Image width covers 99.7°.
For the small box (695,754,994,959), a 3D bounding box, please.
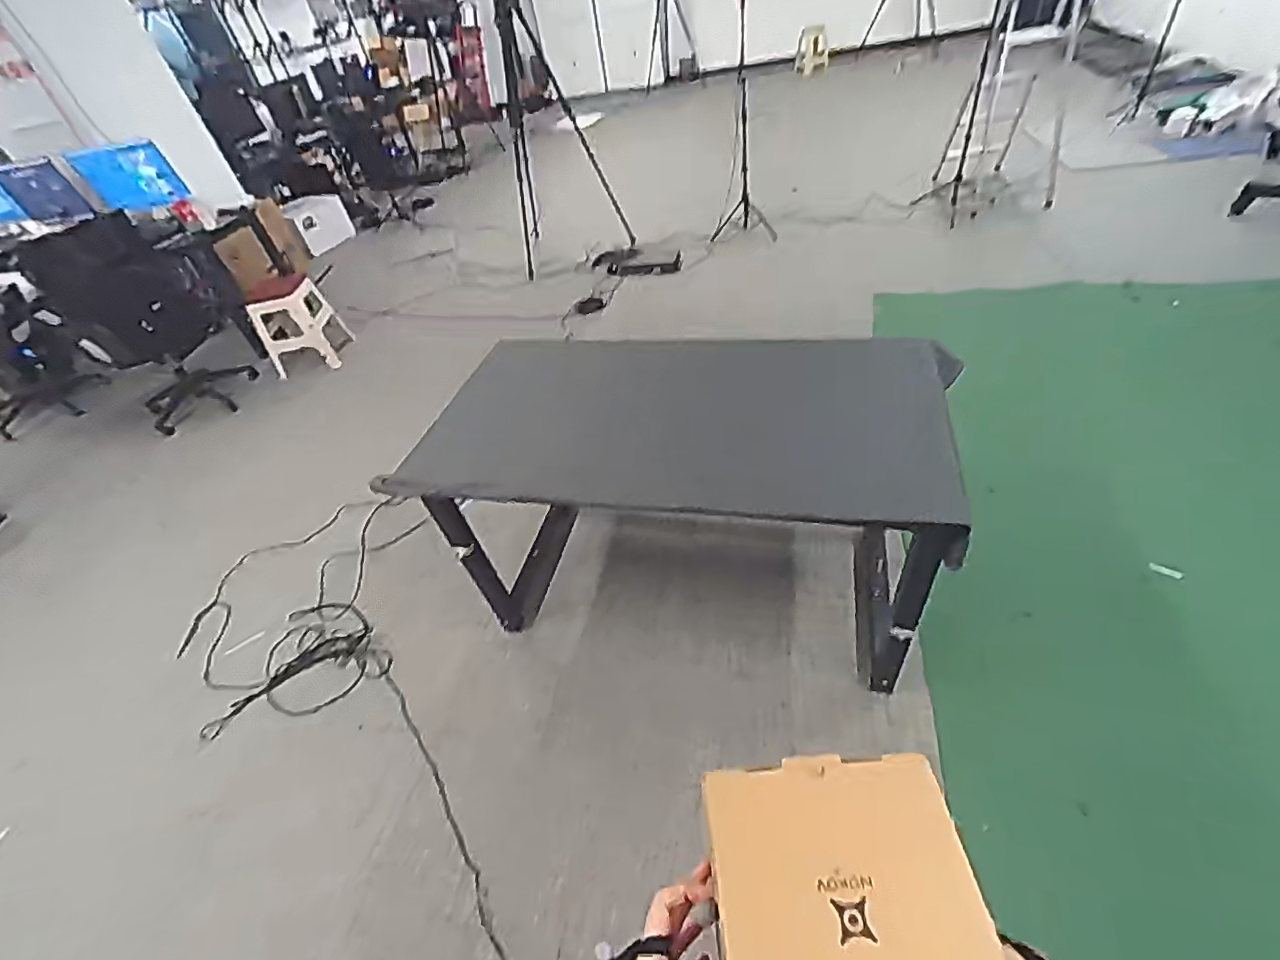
[{"bbox_3d":[0.136,0.330,0.400,0.168,0.176,0.179,-7,44,1],"label":"small box"}]
